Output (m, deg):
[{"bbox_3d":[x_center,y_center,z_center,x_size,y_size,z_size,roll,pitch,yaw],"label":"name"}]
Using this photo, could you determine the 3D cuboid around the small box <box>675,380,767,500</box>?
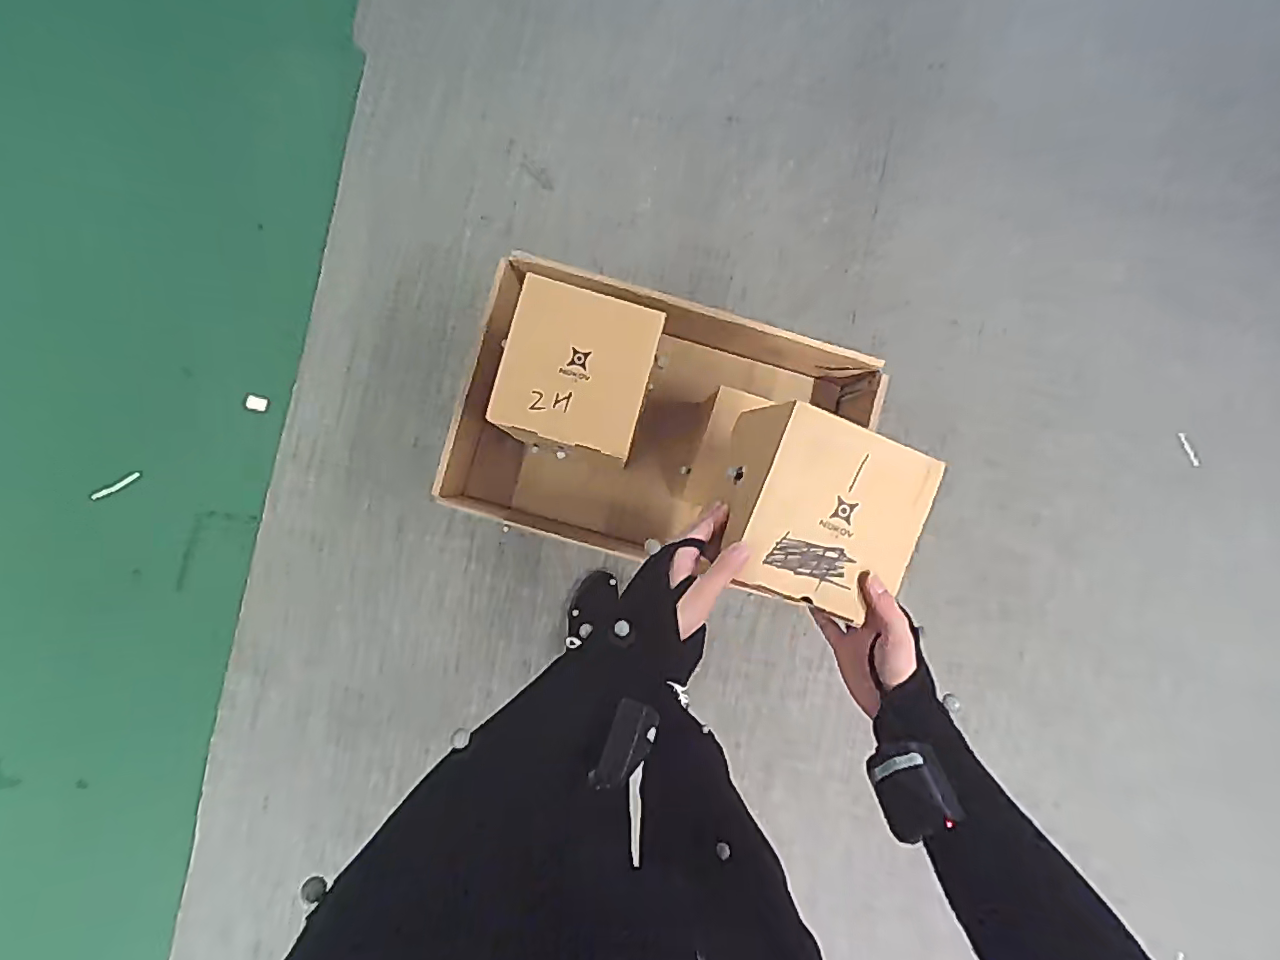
[{"bbox_3d":[0.162,-0.039,0.859,0.168,0.176,0.179,17,90,-3],"label":"small box"}]

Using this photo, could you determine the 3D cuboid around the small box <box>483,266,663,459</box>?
[{"bbox_3d":[-0.079,-0.133,0.681,0.168,0.176,0.179,16,89,-2],"label":"small box"}]

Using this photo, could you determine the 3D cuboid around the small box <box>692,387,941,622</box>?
[{"bbox_3d":[0.168,0.021,0.576,0.168,0.176,0.179,22,89,-9],"label":"small box"}]
